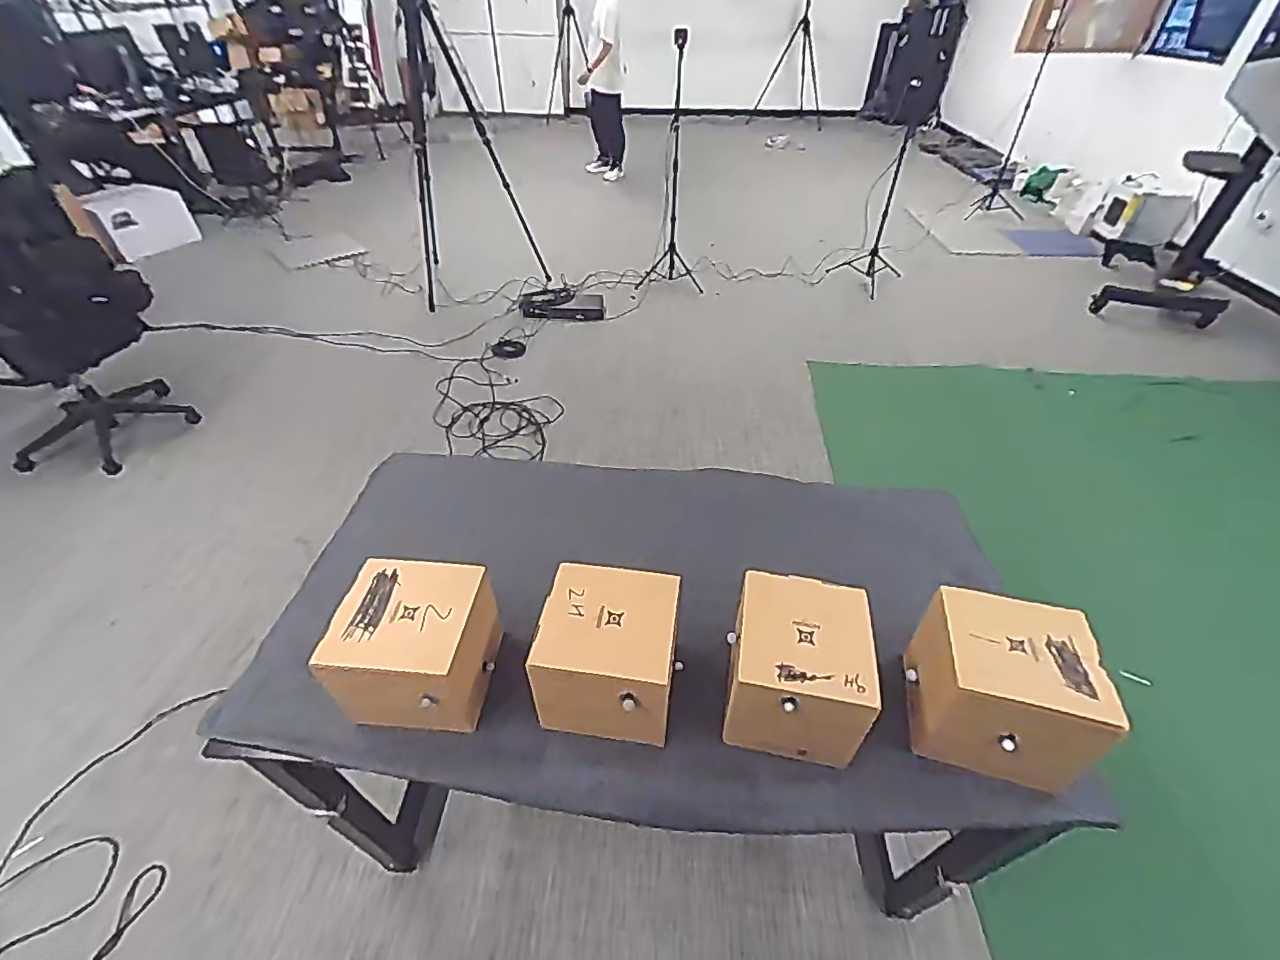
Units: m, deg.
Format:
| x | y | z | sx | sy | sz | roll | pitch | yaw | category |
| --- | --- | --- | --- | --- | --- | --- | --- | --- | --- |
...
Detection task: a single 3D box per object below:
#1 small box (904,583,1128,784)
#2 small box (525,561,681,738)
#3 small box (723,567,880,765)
| x | y | z | sx | sy | sz | roll | pitch | yaw | category |
| --- | --- | --- | --- | --- | --- | --- | --- | --- | --- |
| 0.469 | 0.268 | 0.711 | 0.179 | 0.176 | 0.168 | 11 | 40 | 14 | small box |
| -0.040 | 0.237 | 0.753 | 0.179 | 0.176 | 0.168 | 5 | 41 | 8 | small box |
| 0.210 | 0.251 | 0.737 | 0.168 | 0.176 | 0.179 | 9 | 41 | 9 | small box |
